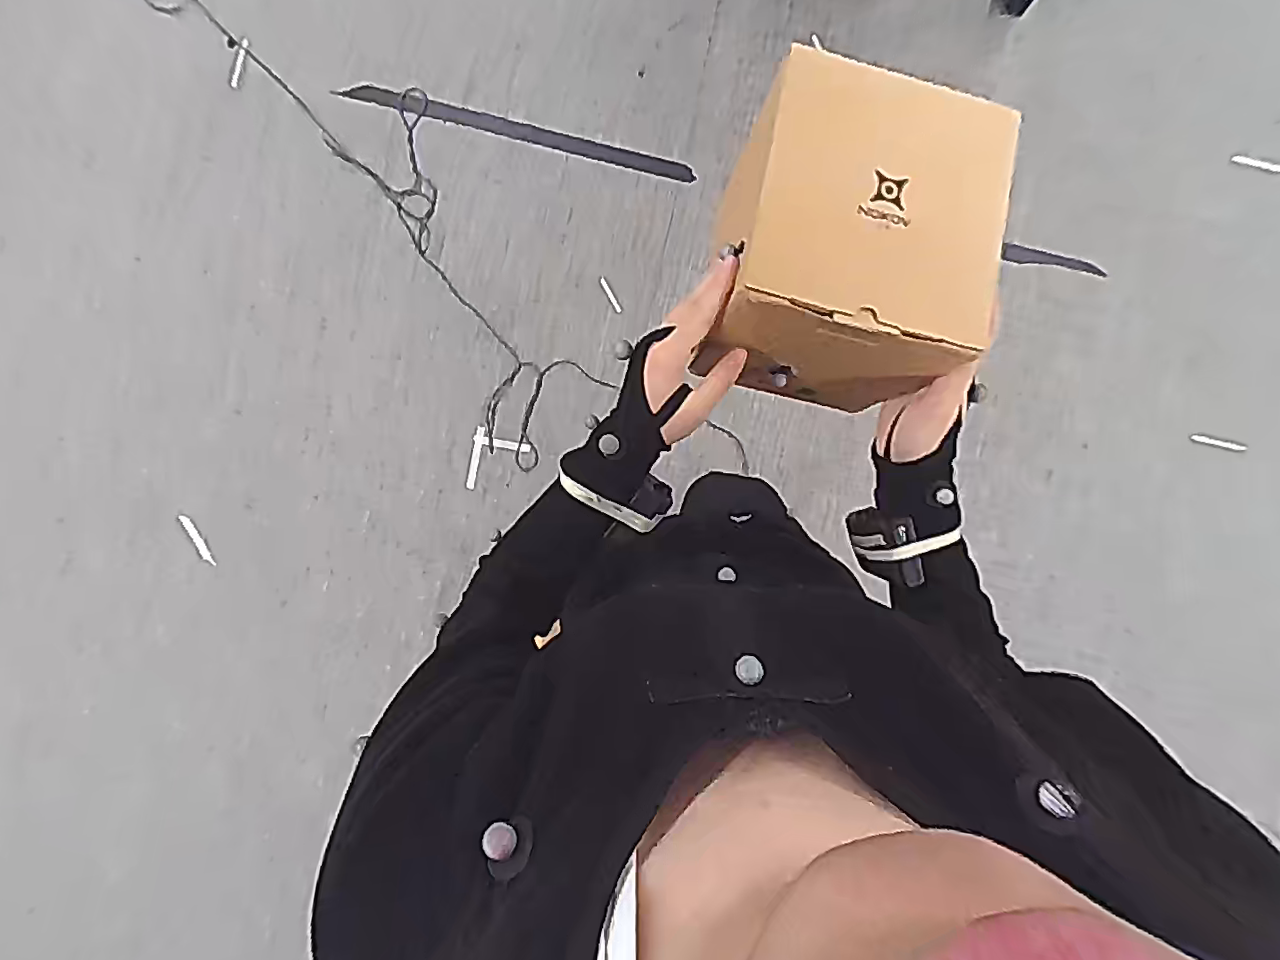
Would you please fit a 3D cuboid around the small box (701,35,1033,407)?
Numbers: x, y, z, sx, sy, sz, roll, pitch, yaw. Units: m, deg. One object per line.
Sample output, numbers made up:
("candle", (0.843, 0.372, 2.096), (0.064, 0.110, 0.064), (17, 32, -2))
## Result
("small box", (0.154, -0.173, 0.418), (0.168, 0.176, 0.179), (13, 84, -5))
